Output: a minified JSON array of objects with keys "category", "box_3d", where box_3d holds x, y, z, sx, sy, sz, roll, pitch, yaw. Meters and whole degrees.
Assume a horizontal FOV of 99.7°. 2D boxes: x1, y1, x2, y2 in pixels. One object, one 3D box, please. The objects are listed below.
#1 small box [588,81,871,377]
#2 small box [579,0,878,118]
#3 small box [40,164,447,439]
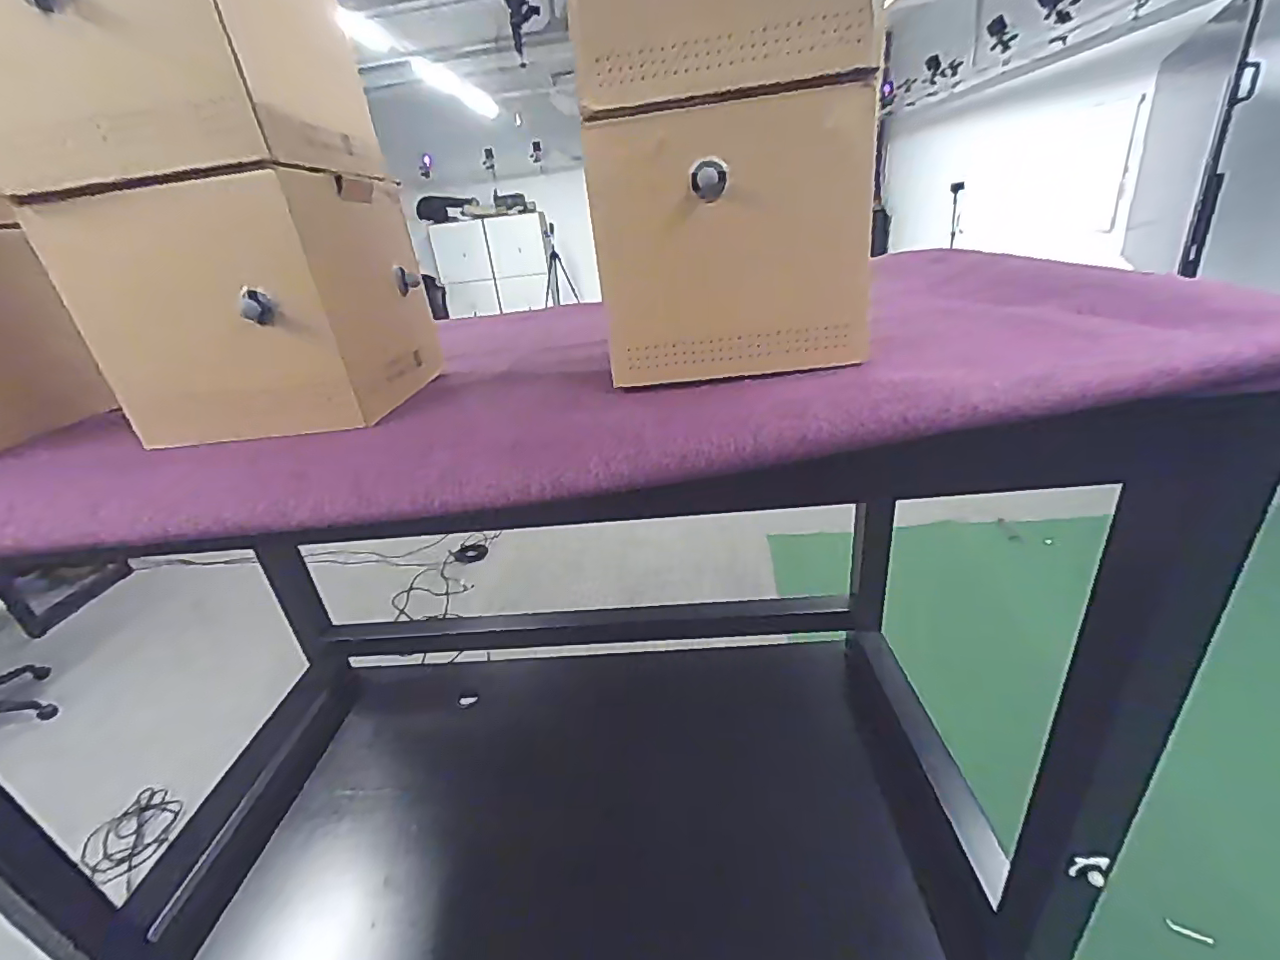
[{"category":"small box","box_3d":[0.067,-0.182,0.430,0.179,0.176,0.168,-3,23,6]},{"category":"small box","box_3d":[0.052,-0.333,0.366,0.179,0.176,0.168,-4,23,7]},{"category":"small box","box_3d":[-0.280,-0.143,0.437,0.179,0.176,0.168,-6,25,4]}]
